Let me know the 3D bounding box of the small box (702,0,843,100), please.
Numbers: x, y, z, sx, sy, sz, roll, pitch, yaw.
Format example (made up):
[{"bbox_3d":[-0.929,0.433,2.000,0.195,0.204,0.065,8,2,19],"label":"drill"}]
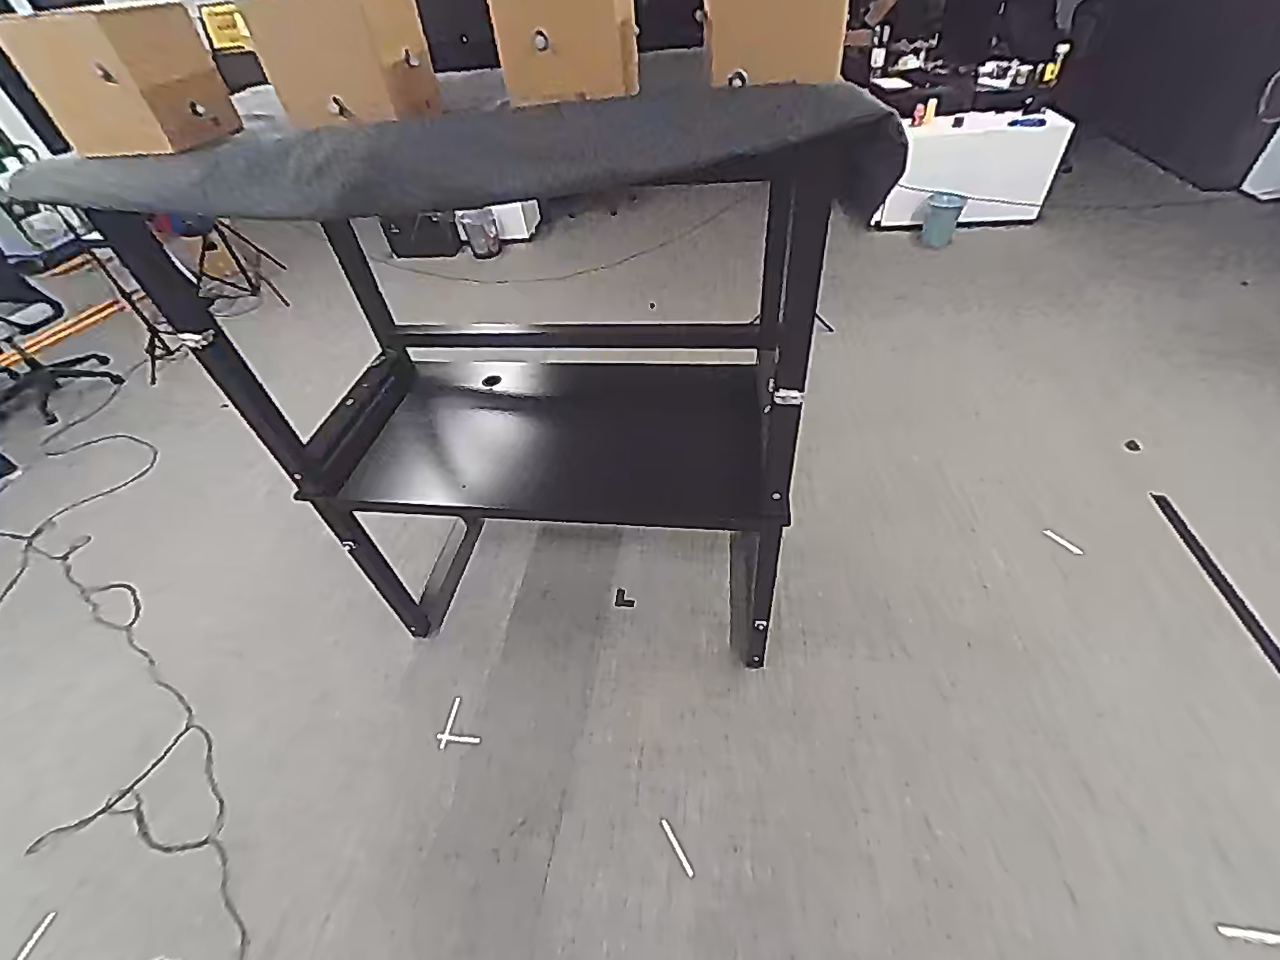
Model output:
[{"bbox_3d":[0.169,-0.623,0.719,0.168,0.176,0.179,-3,44,5],"label":"small box"}]

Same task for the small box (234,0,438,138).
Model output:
[{"bbox_3d":[-0.425,-0.619,0.792,0.179,0.176,0.168,2,44,7],"label":"small box"}]

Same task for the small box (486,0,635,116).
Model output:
[{"bbox_3d":[-0.101,-0.632,0.767,0.168,0.176,0.179,0,44,7],"label":"small box"}]
